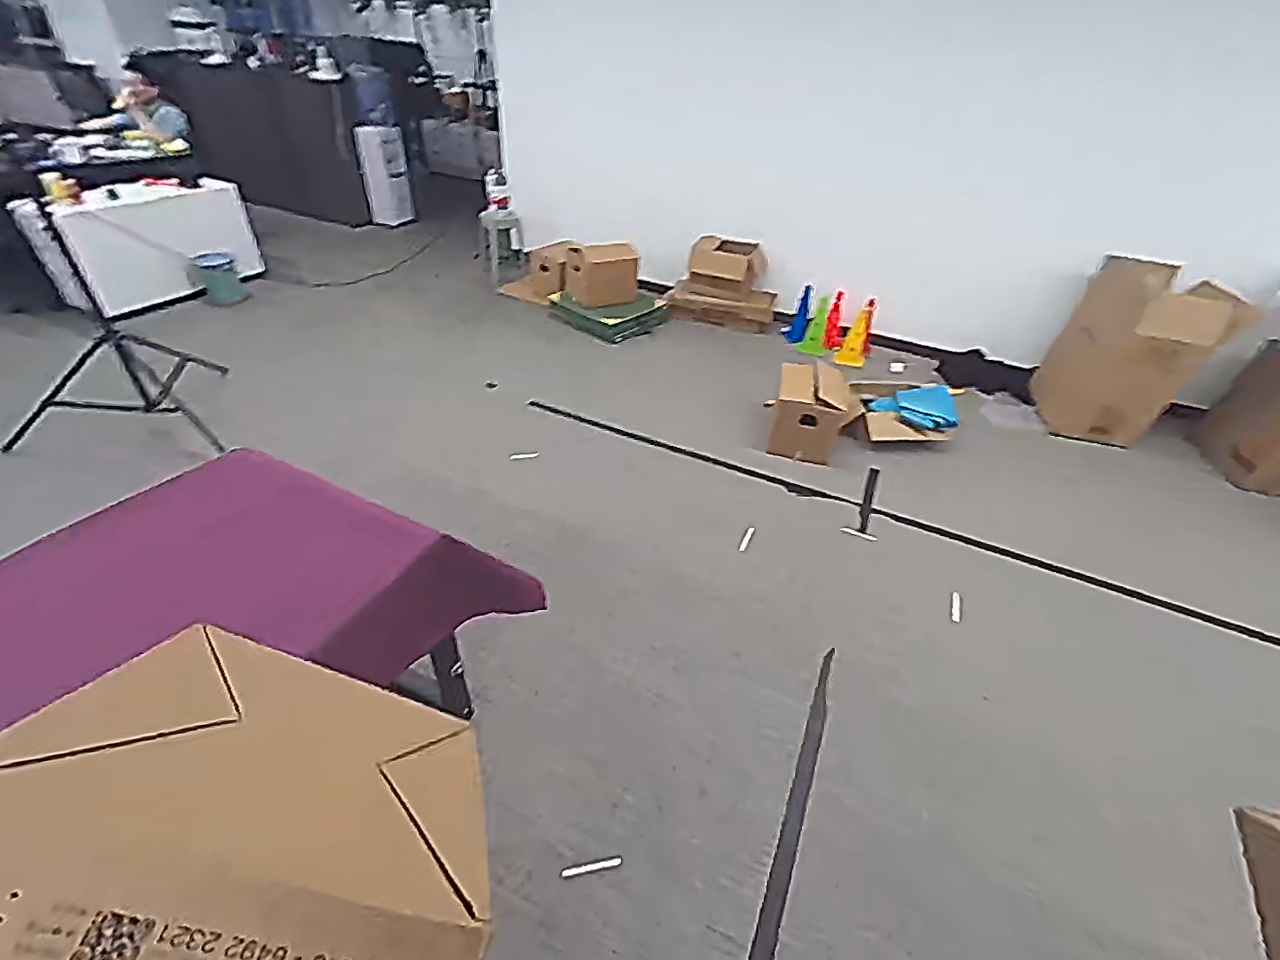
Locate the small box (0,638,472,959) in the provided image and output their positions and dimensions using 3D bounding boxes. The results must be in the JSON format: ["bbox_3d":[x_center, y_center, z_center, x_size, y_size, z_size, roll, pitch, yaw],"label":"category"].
[{"bbox_3d":[-0.184,0.184,0.227,0.168,0.179,0.176,27,81,-17],"label":"small box"}]
